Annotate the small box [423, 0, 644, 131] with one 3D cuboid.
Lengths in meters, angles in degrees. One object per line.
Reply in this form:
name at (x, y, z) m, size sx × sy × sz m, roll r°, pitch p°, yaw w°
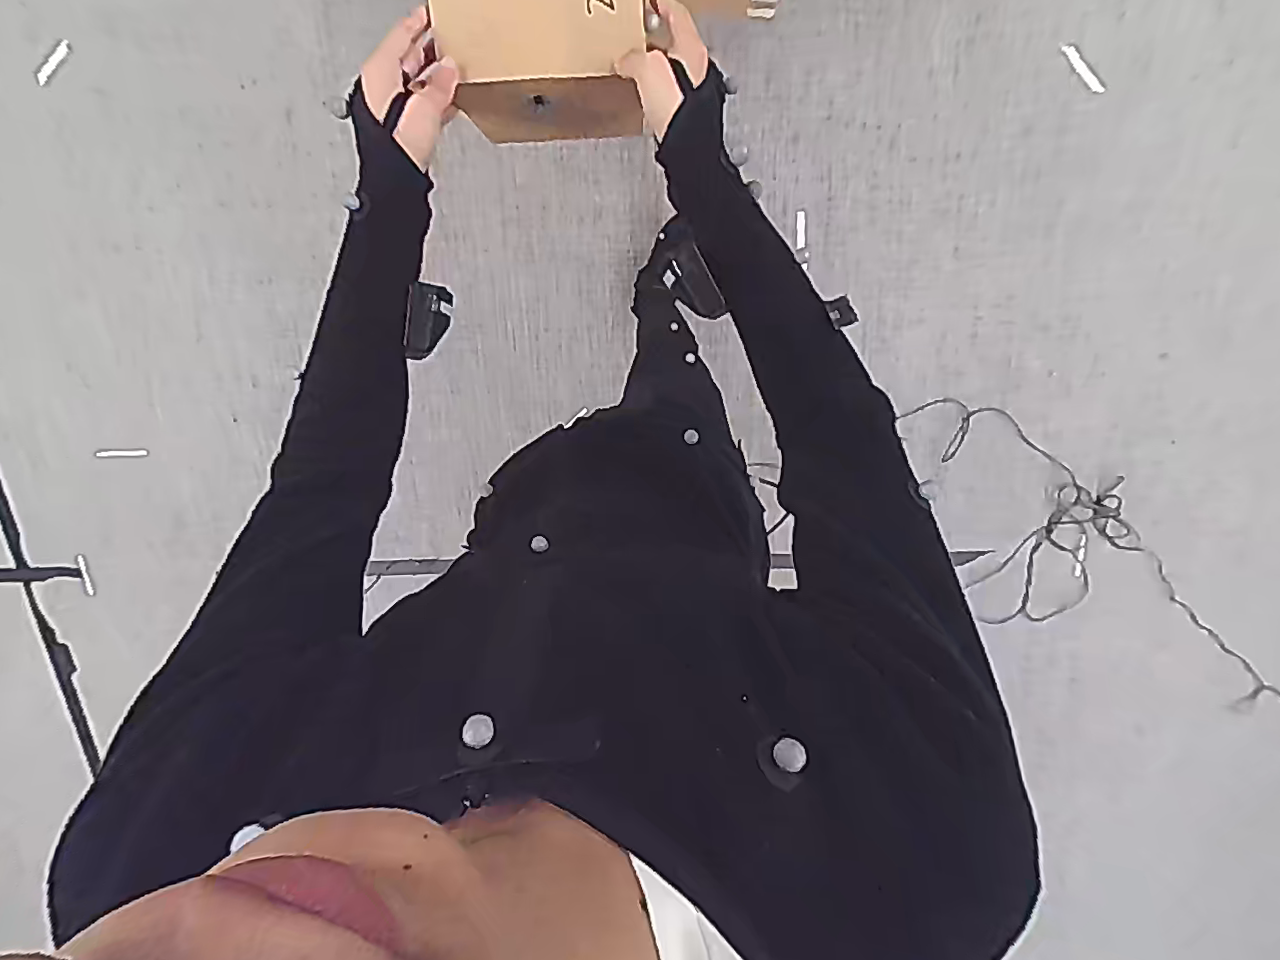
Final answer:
small box at (-0.086, -0.436, 0.492) m, size 0.179 × 0.176 × 0.168 m, roll -2°, pitch 109°, yaw 0°
